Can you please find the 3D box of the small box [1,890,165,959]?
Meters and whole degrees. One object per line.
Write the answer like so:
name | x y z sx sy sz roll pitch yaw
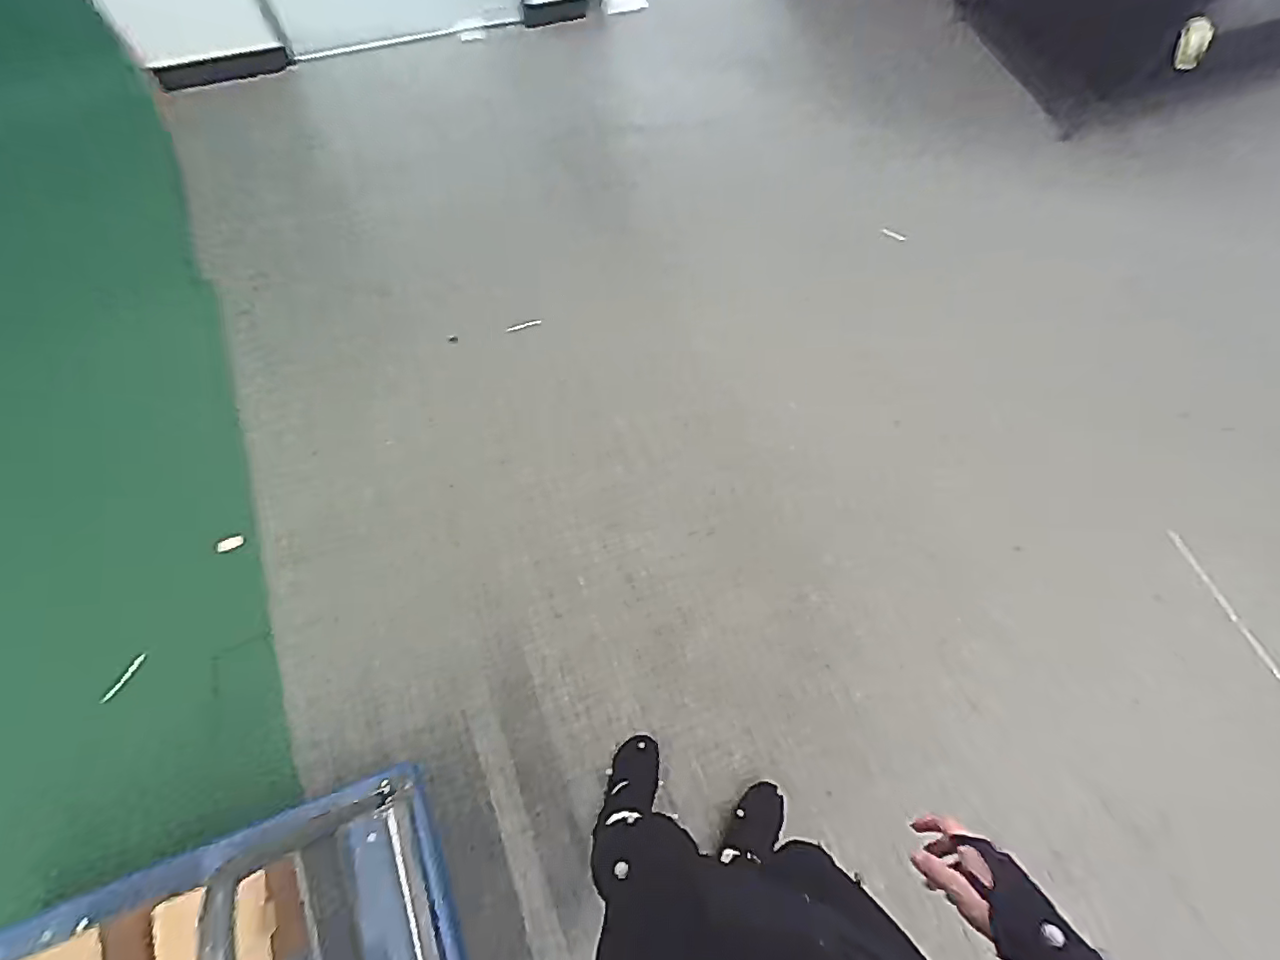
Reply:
small box | -0.949 0.849 0.918 0.179 0.176 0.168 -20 73 -12

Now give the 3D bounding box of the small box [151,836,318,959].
small box | -0.716 0.776 0.967 0.179 0.176 0.168 -17 72 -12
